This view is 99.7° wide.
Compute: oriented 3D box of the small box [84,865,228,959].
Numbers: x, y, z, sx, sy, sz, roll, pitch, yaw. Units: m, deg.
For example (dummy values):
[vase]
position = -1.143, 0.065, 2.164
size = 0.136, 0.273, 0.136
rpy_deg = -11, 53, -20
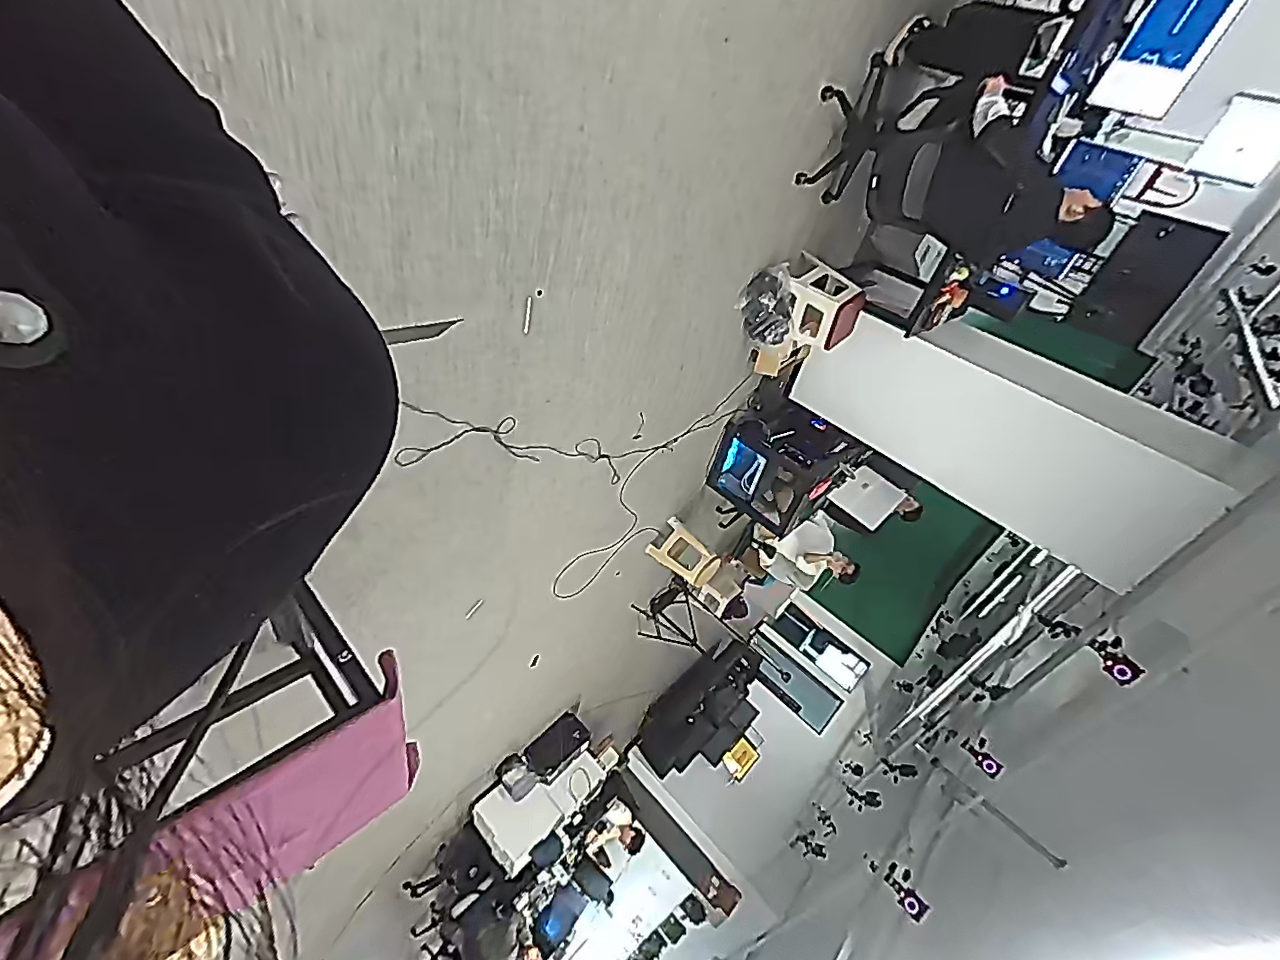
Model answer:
[small box]
position = -0.992, 0.948, 1.115
size = 0.168, 0.176, 0.179
rpy_deg = -27, 144, -45
